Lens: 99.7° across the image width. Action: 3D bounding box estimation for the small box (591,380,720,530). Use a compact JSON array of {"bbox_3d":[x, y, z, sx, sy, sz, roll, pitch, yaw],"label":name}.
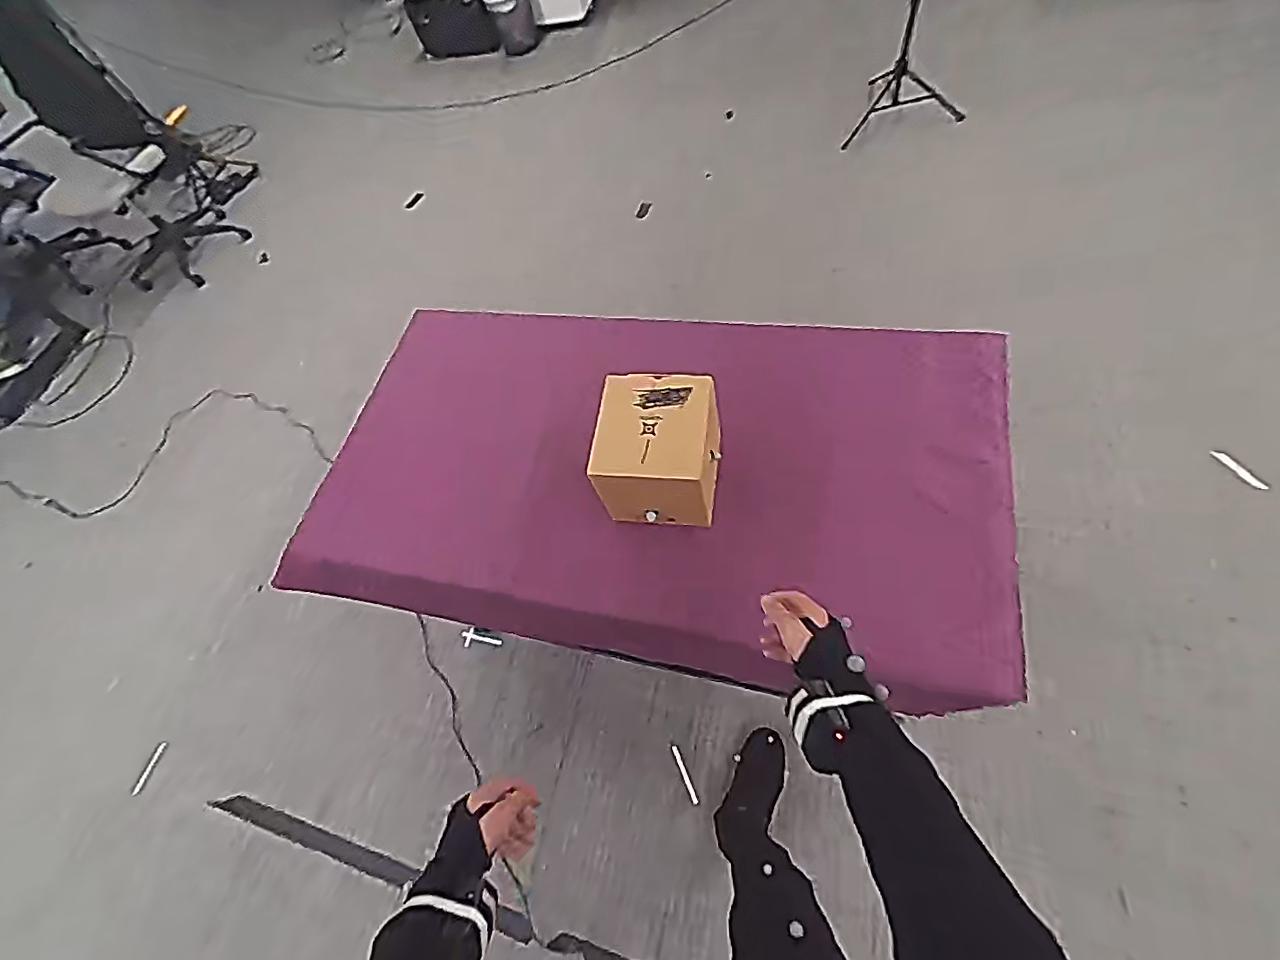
[{"bbox_3d":[0.036,-0.038,0.861,0.168,0.176,0.179,3,63,14],"label":"small box"}]
